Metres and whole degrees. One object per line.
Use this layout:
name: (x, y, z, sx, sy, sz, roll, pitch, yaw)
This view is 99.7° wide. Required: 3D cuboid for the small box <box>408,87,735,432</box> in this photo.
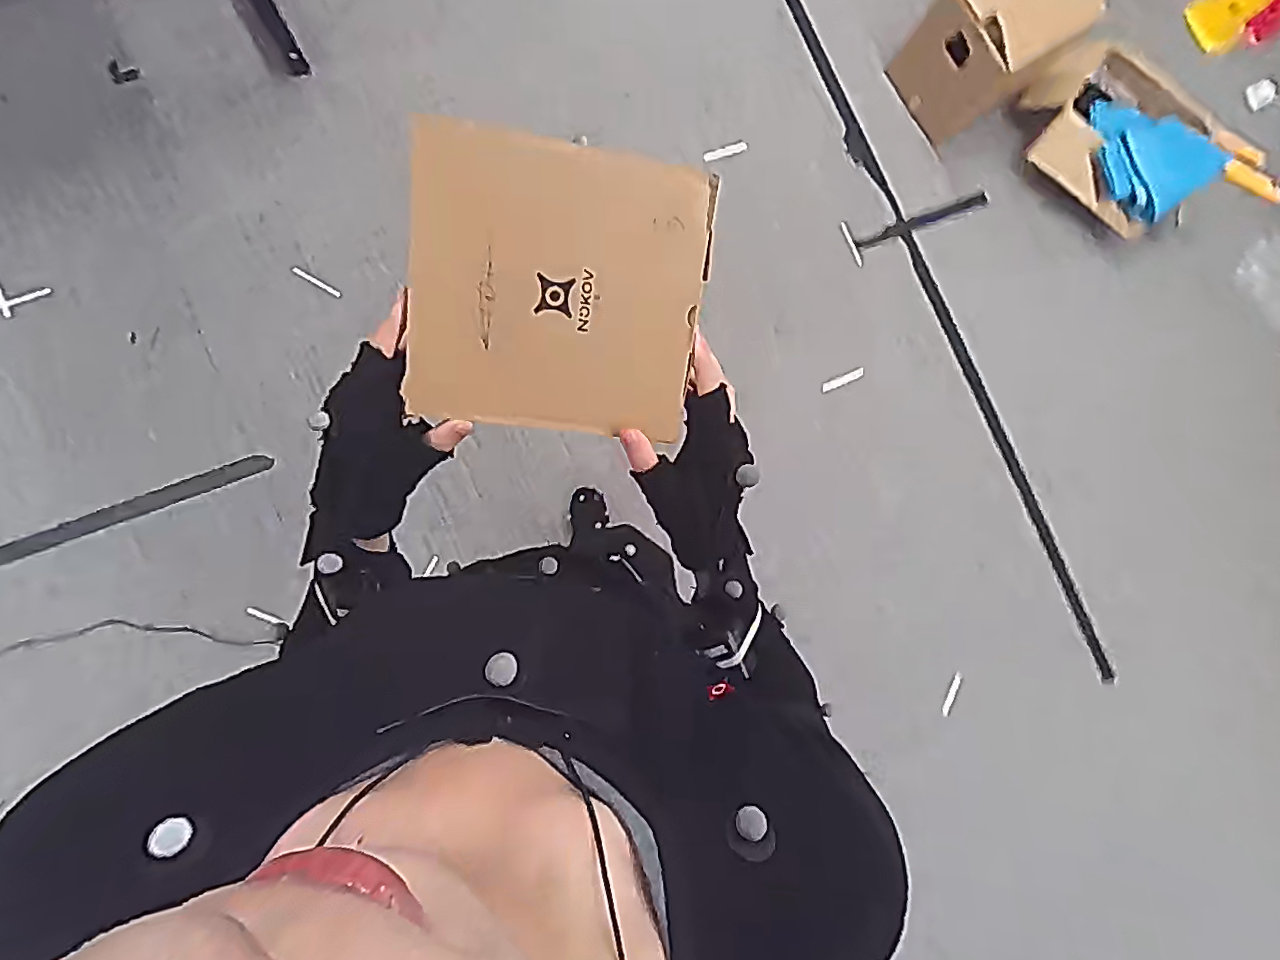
small box: (-0.054, -0.138, 0.384, 0.179, 0.176, 0.168, 4, 106, -11)
